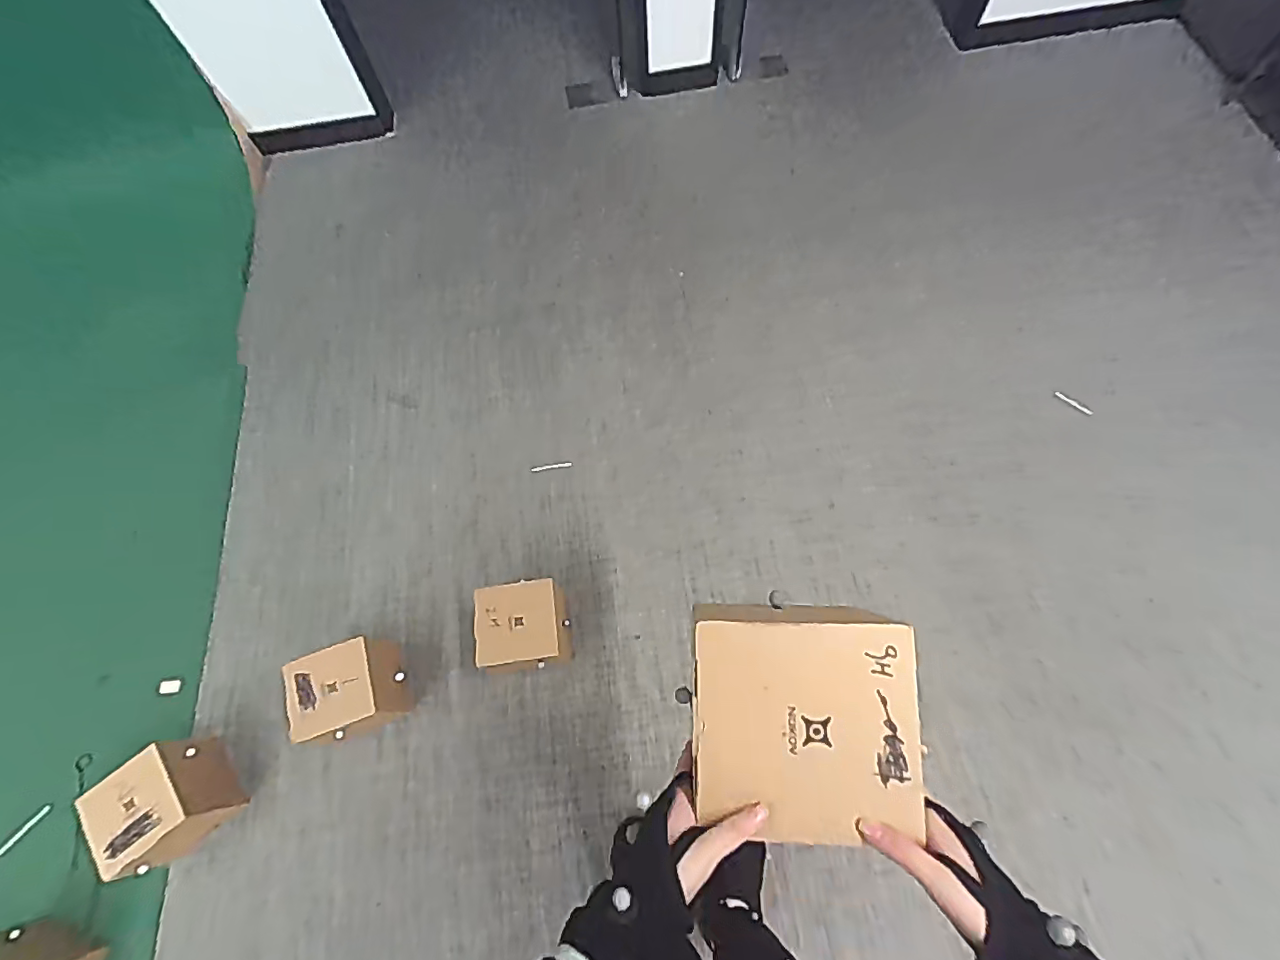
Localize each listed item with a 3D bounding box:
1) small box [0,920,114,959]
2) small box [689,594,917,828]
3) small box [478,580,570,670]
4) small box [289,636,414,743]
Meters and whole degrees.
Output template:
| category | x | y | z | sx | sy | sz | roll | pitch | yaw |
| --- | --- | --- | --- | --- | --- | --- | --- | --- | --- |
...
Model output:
| category | x | y | z | sx | sy | sz | roll | pitch | yaw |
| --- | --- | --- | --- | --- | --- | --- | --- | --- | --- |
| small box | -1.176 | 0.972 | 1.015 | 0.179 | 0.176 | 0.168 | 14 | 69 | 9 |
| small box | 0.138 | 0.199 | 0.515 | 0.179 | 0.176 | 0.168 | -1 | 82 | 6 |
| small box | -0.256 | 0.332 | 1.226 | 0.179 | 0.176 | 0.168 | -8 | 67 | -1 |
| small box | -0.630 | 0.462 | 1.192 | 0.179 | 0.176 | 0.168 | -20 | 68 | -6 |
